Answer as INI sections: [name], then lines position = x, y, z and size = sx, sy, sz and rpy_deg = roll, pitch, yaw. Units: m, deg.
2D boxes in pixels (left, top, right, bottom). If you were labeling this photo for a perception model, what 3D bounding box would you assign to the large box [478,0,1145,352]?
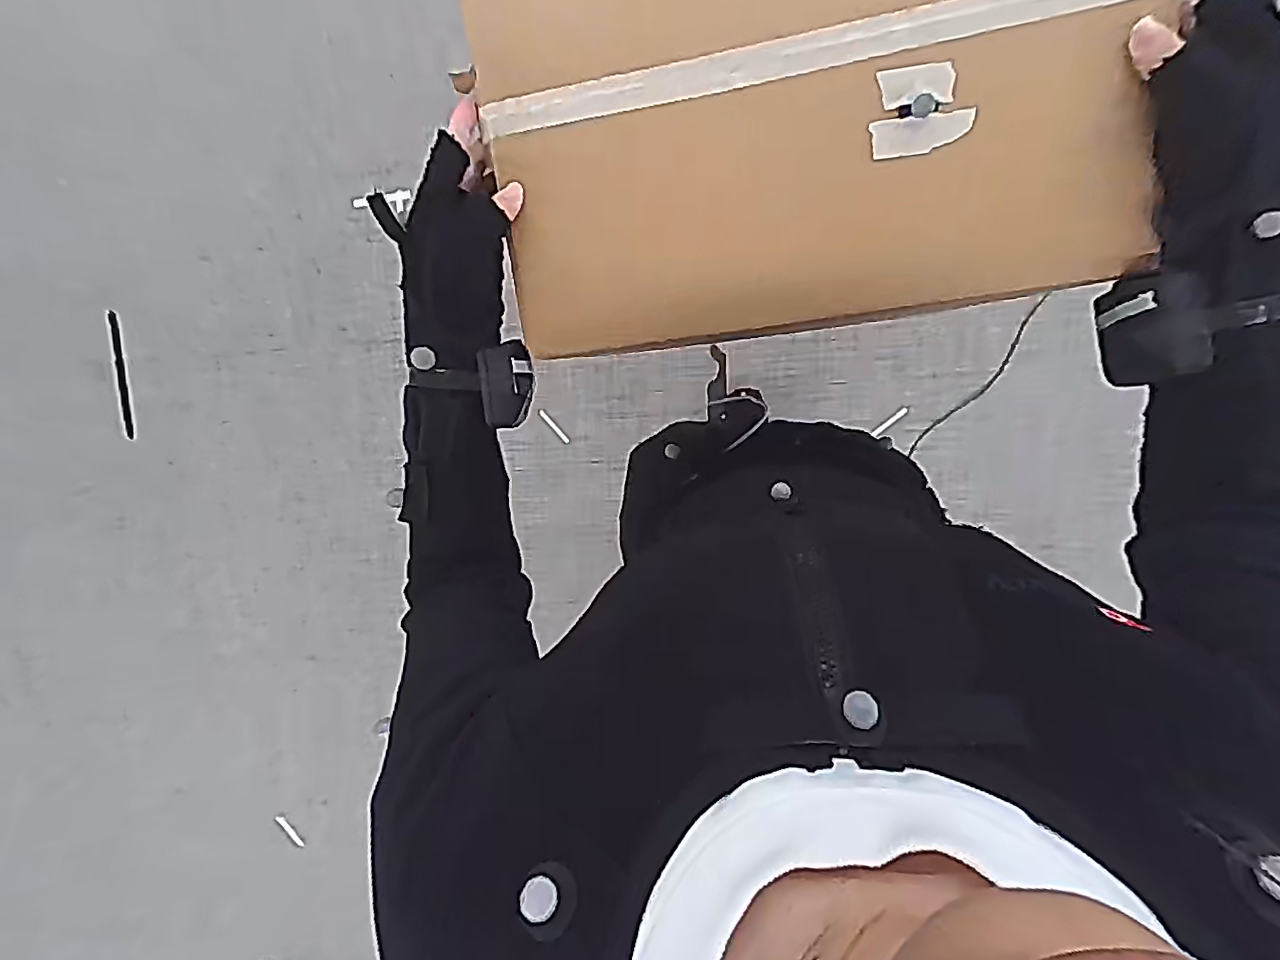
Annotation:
[large box]
position = 0.114, -0.301, 0.488
size = 0.408, 0.320, 0.320
rpy_deg = -6, 103, 8
